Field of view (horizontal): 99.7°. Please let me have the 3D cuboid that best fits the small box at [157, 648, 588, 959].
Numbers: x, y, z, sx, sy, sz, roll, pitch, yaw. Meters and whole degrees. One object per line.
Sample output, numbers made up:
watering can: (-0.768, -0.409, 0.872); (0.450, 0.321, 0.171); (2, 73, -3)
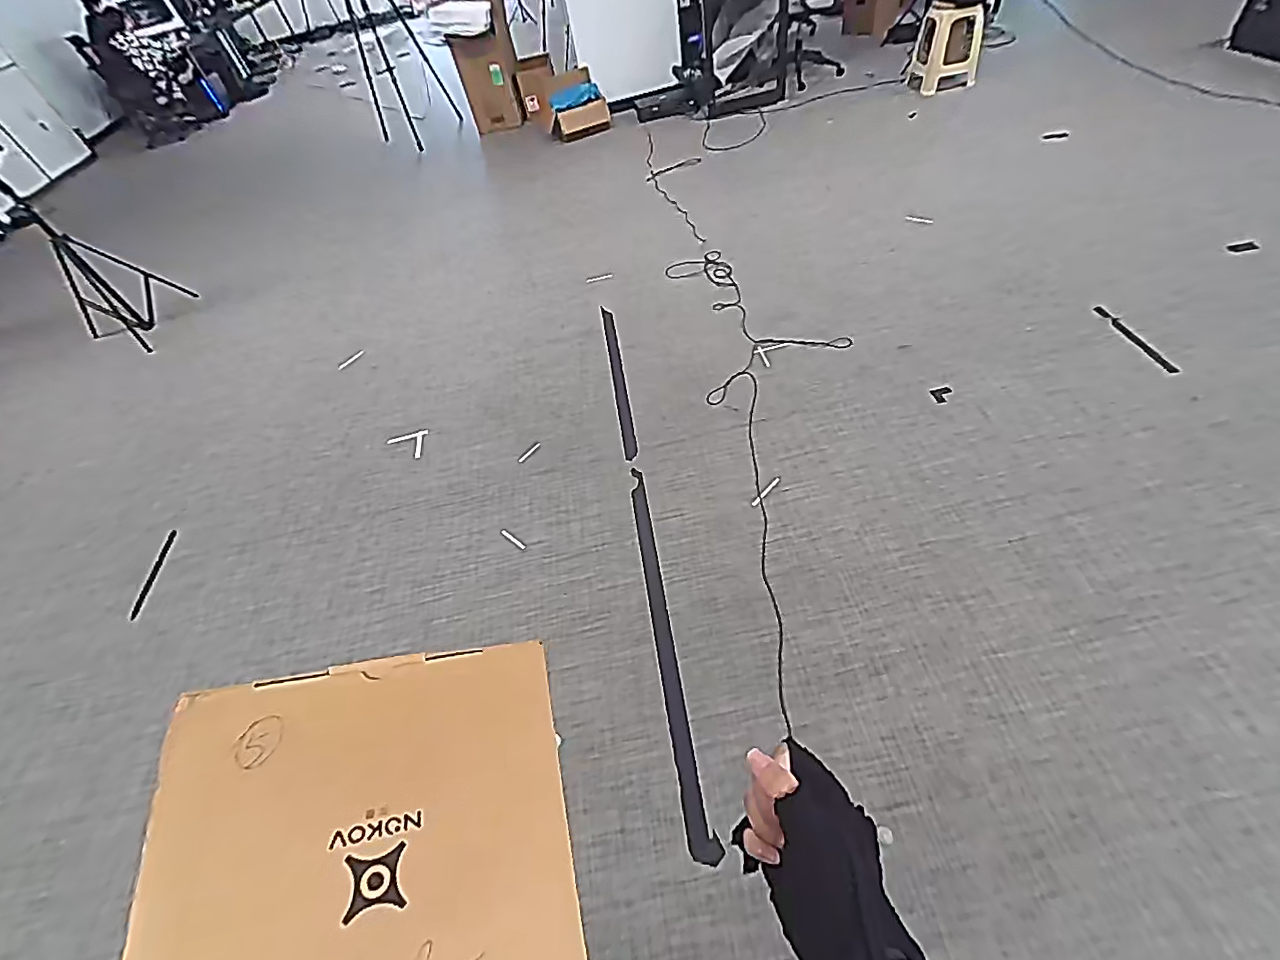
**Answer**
small box: (-0.134, 0.215, 0.304); (0.168, 0.176, 0.179); (-3, 58, -20)
